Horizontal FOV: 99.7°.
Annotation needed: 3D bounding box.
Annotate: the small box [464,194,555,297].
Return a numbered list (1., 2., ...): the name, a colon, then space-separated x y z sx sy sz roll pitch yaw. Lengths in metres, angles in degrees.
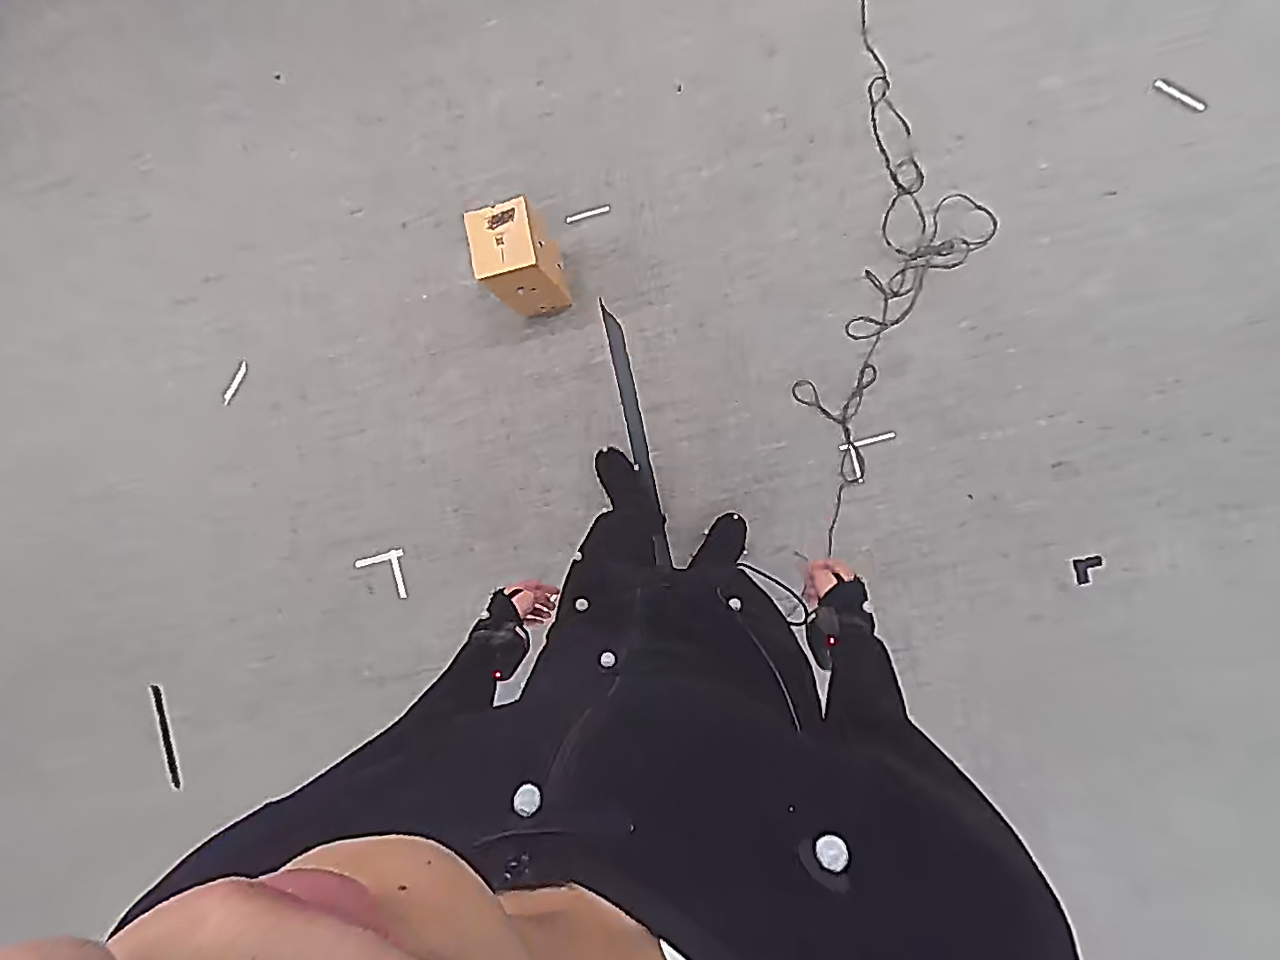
1. small box: -0.338 -0.611 1.428 0.168 0.176 0.179 -11 89 9
